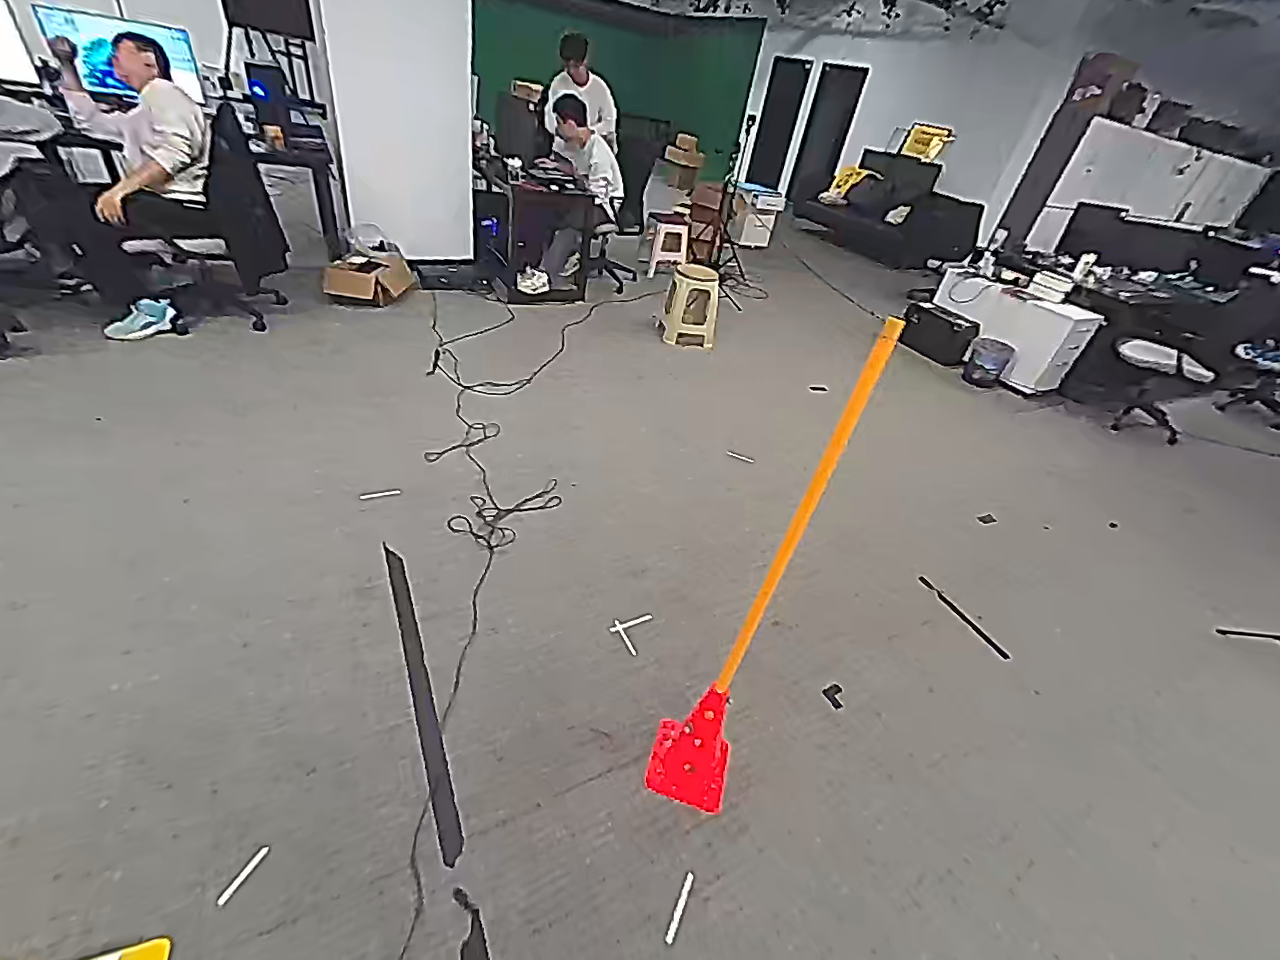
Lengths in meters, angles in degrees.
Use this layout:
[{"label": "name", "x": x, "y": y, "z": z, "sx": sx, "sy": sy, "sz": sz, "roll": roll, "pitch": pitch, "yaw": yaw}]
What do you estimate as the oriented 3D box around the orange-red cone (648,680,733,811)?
[{"label": "orange-red cone", "x": 0.159, "y": 0.601, "z": 1.307, "sx": 0.198, "sy": 0.360, "sz": 0.199, "roll": 17, "pitch": 38, "yaw": 10}]
